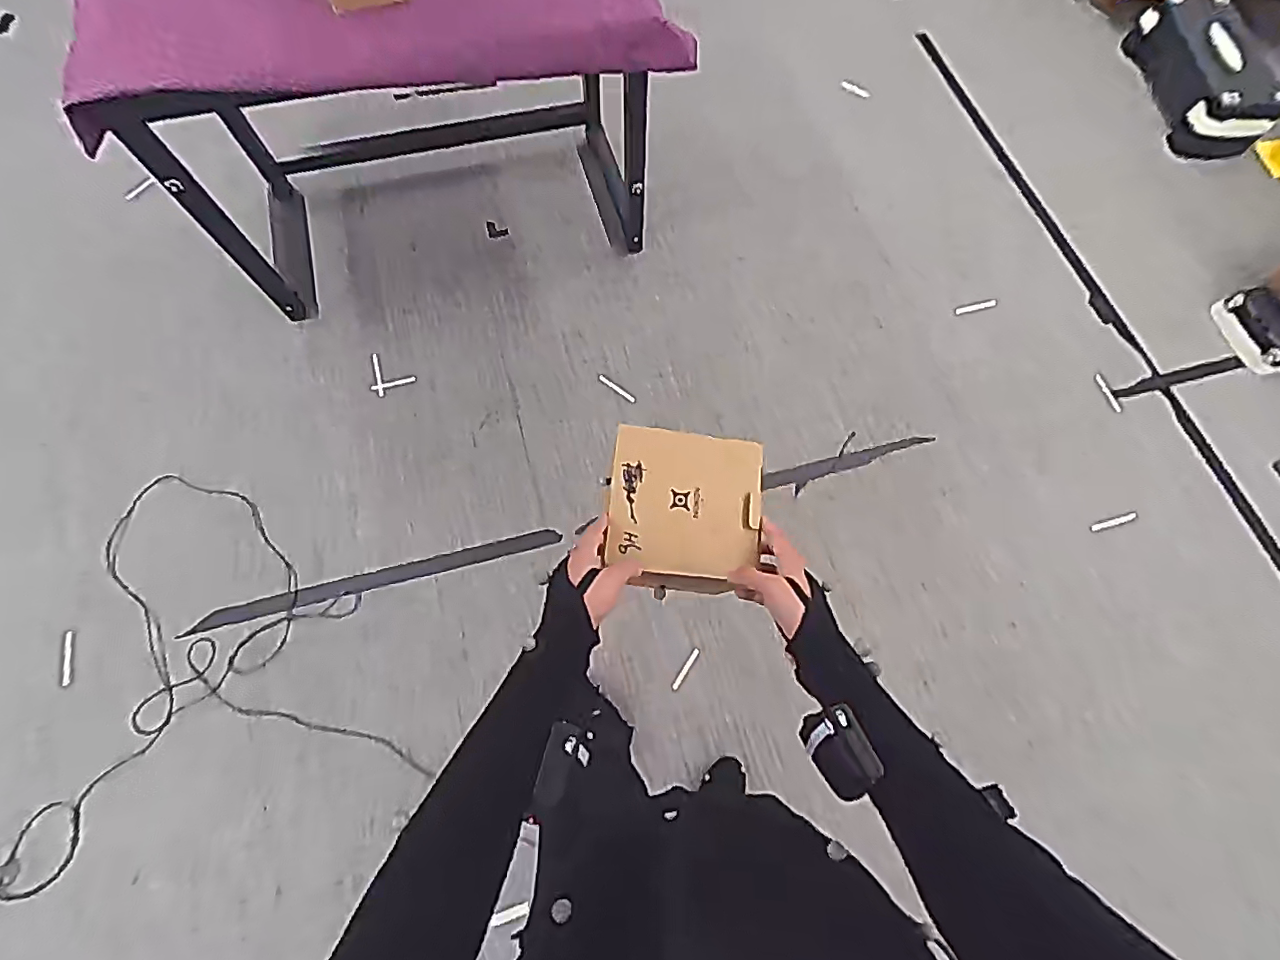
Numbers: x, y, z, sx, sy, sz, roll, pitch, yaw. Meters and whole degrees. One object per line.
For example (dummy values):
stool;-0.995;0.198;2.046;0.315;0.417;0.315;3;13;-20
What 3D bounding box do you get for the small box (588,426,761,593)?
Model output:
small box;0.036;0.048;0.680;0.179;0.176;0.168;8;73;-8
